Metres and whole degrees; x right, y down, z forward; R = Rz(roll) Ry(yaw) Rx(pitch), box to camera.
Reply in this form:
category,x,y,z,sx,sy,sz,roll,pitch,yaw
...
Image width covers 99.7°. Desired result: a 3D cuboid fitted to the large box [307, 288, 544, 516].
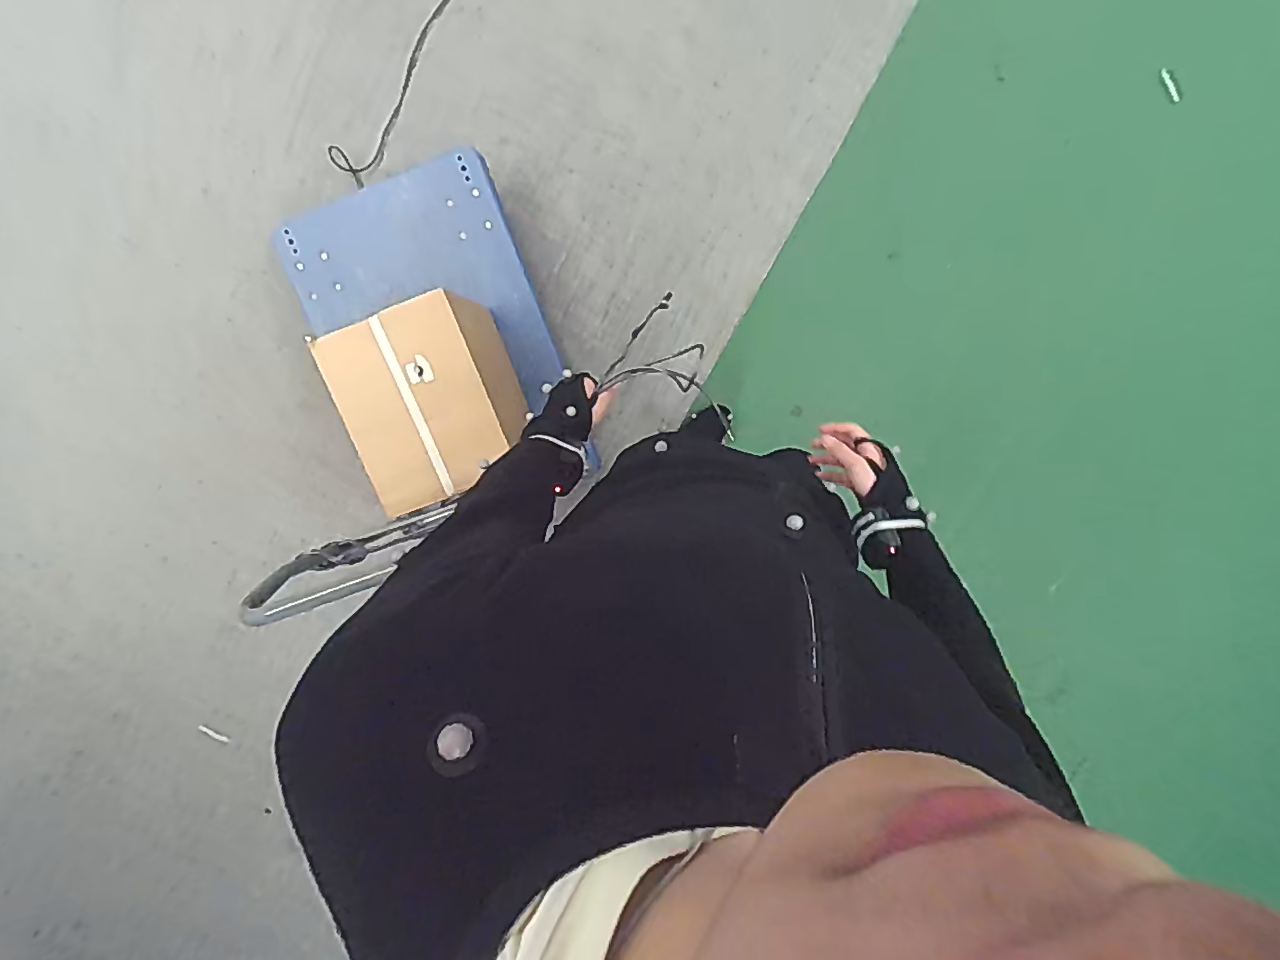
category,x,y,z,sx,sy,sz,roll,pitch,yaw
large box,-0.467,-0.177,1.272,0.320,0.320,0.408,-20,98,5
